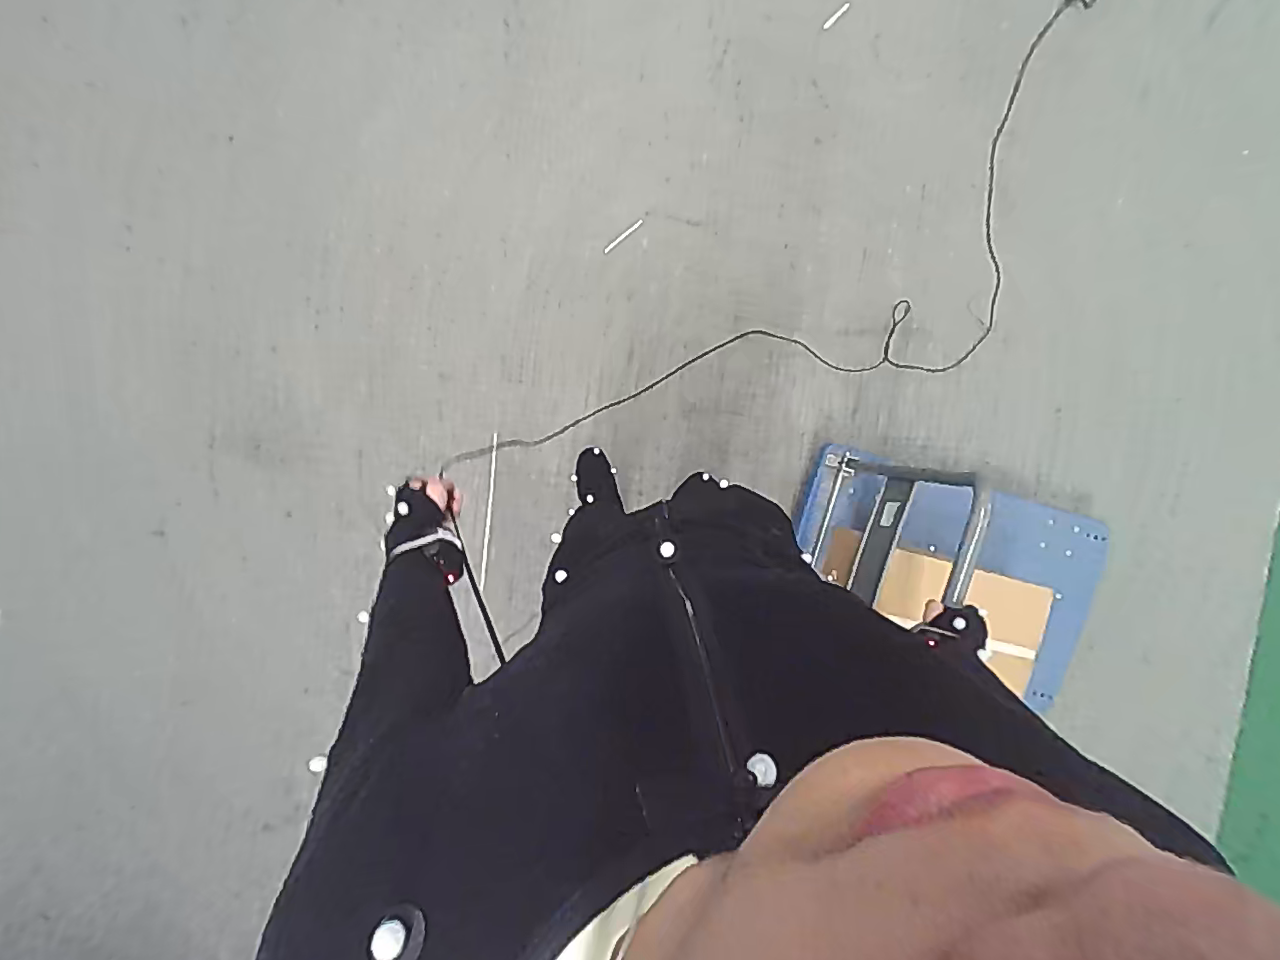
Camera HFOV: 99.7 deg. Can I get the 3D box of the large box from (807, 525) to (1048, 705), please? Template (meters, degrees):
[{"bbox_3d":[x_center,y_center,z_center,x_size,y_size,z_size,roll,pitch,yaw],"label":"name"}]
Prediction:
[{"bbox_3d":[0.696,0.320,1.375,0.408,0.320,0.320,14,94,-4],"label":"large box"}]
